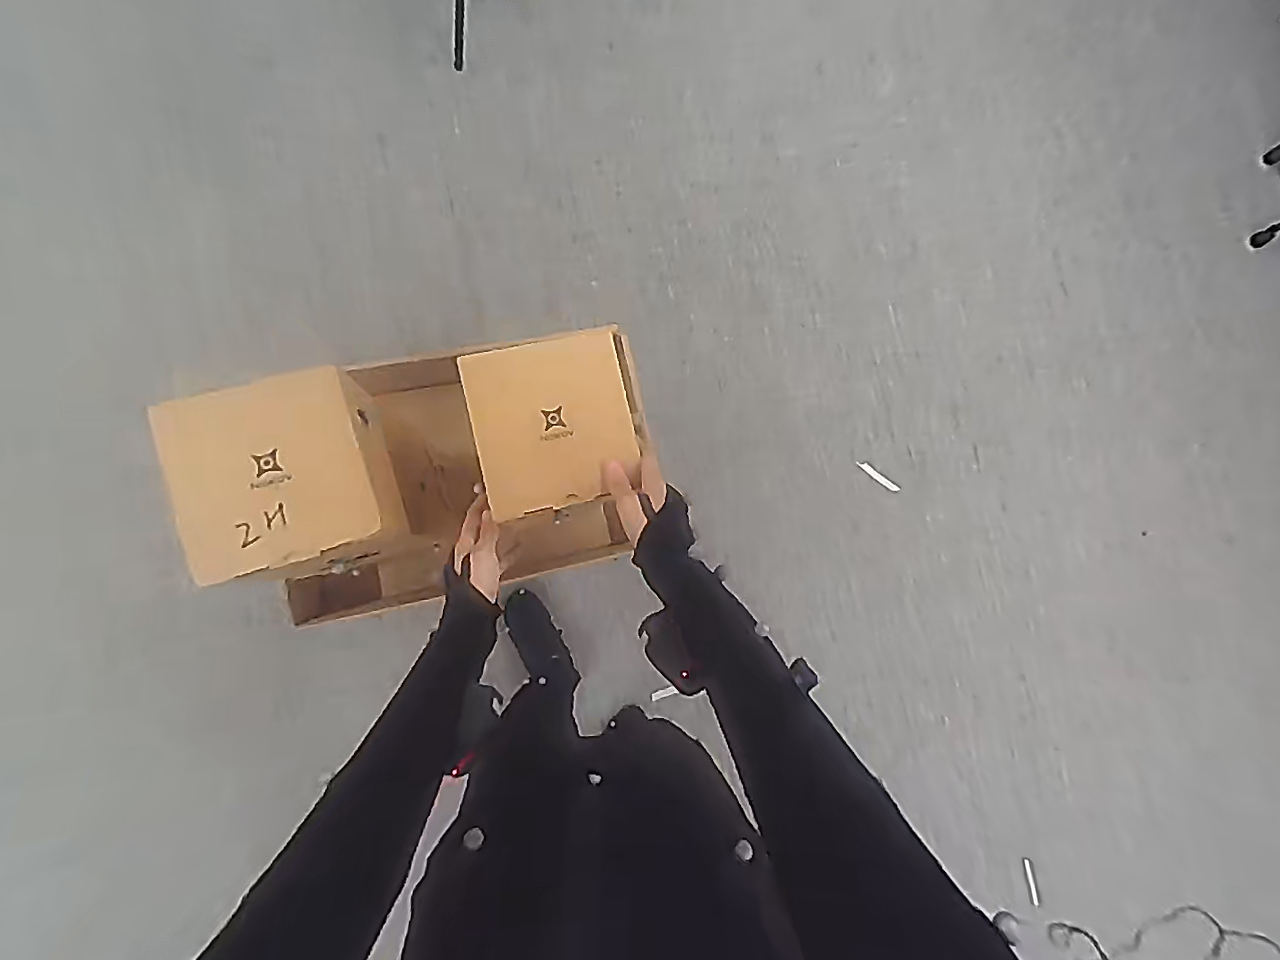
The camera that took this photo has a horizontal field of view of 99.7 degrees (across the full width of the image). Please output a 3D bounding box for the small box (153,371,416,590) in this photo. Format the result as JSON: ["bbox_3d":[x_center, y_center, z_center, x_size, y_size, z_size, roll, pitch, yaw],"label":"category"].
[{"bbox_3d":[-0.360,0.007,0.583,0.168,0.176,0.179,-17,87,-13],"label":"small box"}]

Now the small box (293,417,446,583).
[{"bbox_3d":[-0.379,0.029,0.746,0.168,0.176,0.179,-15,86,-13],"label":"small box"}]

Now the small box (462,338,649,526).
[{"bbox_3d":[-0.102,-0.046,0.640,0.168,0.176,0.179,-13,88,-11],"label":"small box"}]
